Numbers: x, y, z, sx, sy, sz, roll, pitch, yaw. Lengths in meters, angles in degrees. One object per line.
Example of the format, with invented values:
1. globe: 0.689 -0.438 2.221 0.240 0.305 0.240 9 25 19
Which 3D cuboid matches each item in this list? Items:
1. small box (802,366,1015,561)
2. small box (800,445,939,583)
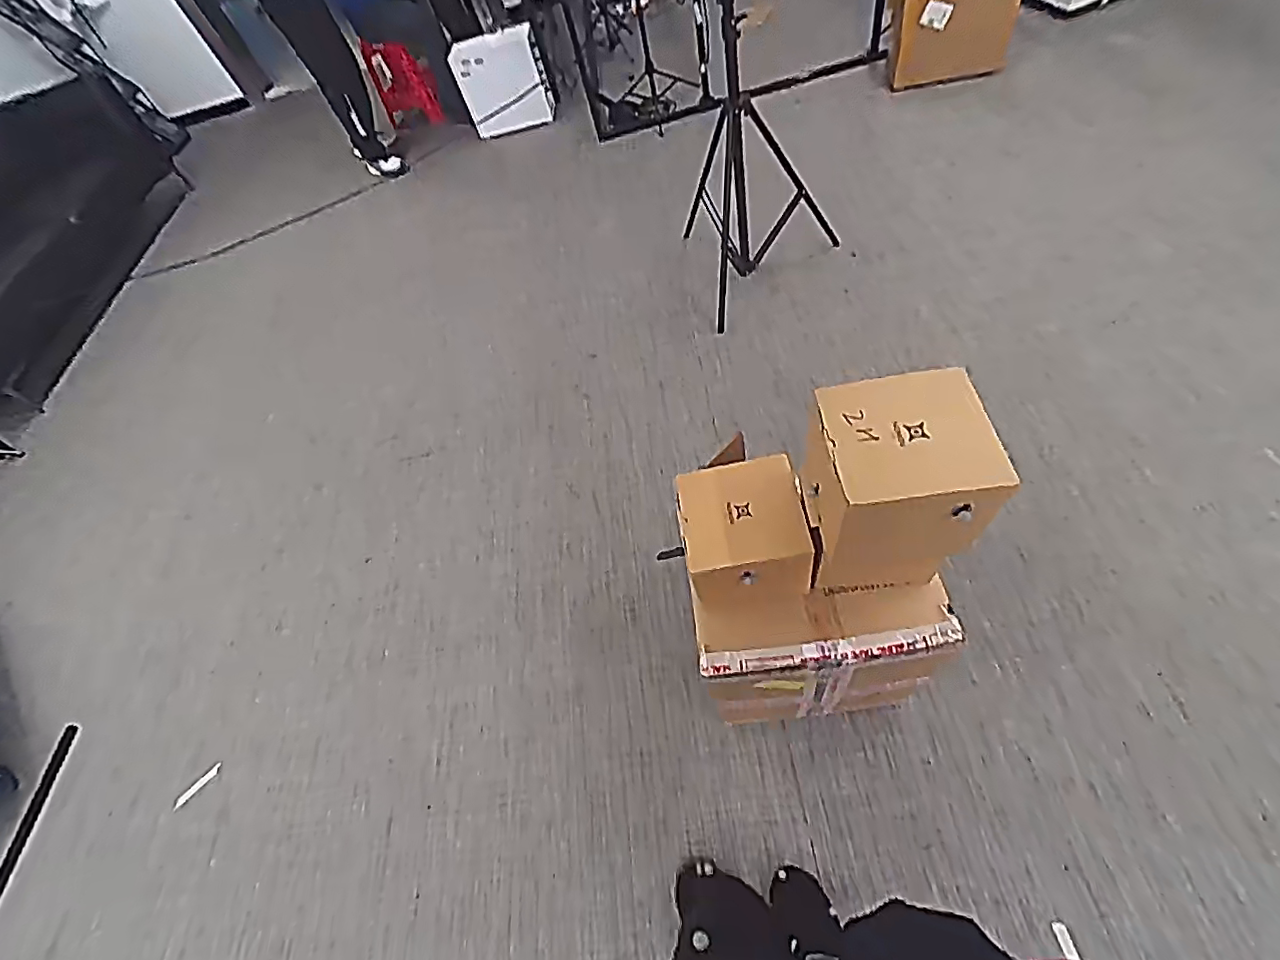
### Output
1. small box: 0.308 -0.013 0.667 0.179 0.176 0.168 -8 58 8
2. small box: 0.343 0.050 0.818 0.179 0.176 0.168 -5 58 9
